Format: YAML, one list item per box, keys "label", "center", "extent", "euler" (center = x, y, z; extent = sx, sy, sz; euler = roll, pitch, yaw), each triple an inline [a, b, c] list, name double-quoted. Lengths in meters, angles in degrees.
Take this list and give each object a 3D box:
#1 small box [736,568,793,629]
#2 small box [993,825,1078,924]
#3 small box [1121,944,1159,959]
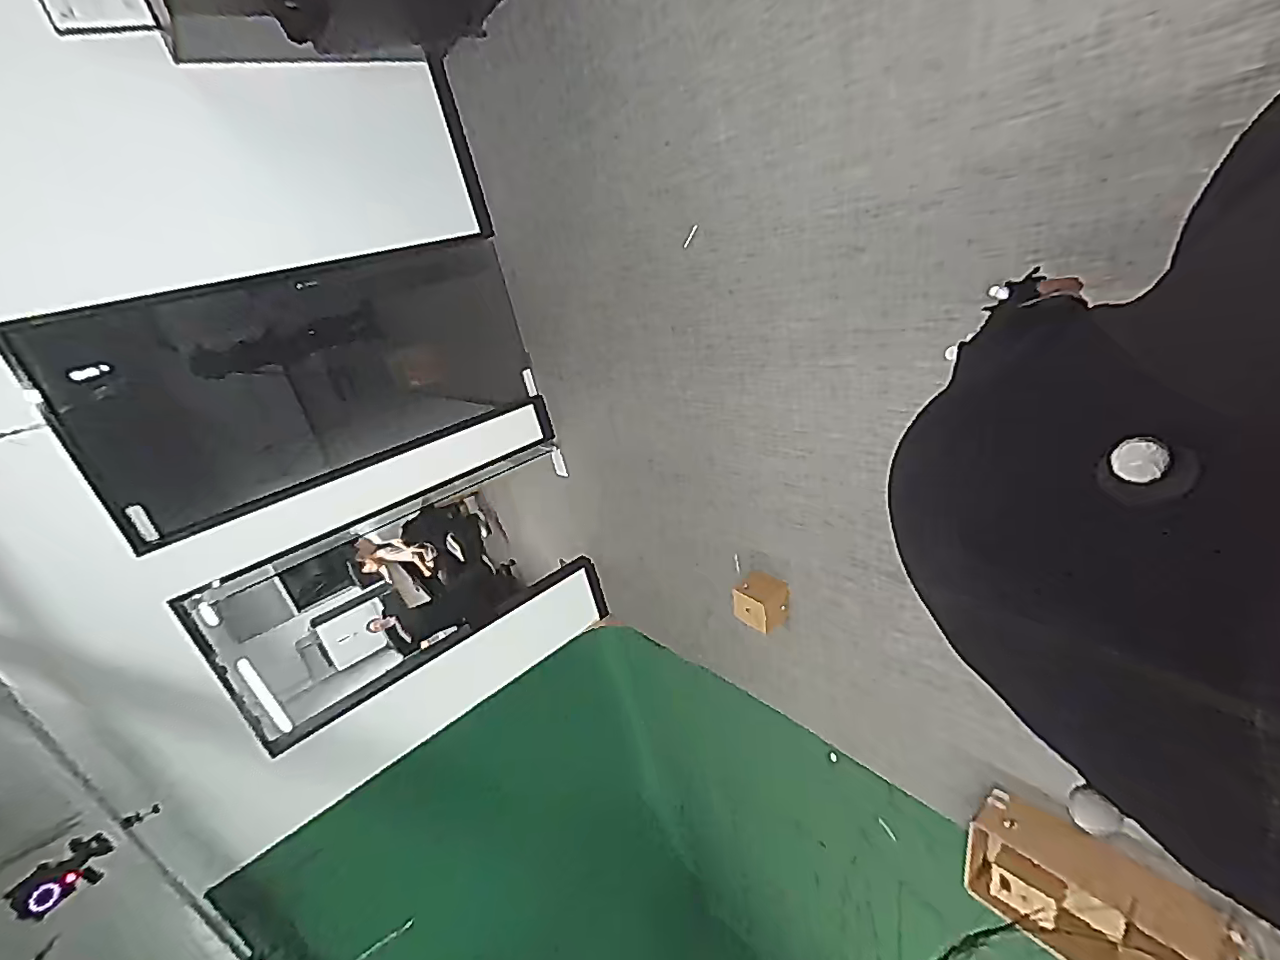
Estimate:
- label: "small box"
  center: [0.544, 0.508, 2.357]
  extent: [0.179, 0.176, 0.168]
  euler: [22, 132, 46]
- label: "small box"
  center: [1.295, 1.279, 1.774]
  extent: [0.179, 0.176, 0.168]
  euler: [17, 127, 48]
- label: "small box"
  center: [1.375, 1.409, 1.444]
  extent: [0.168, 0.176, 0.179]
  euler: [20, 129, 47]
